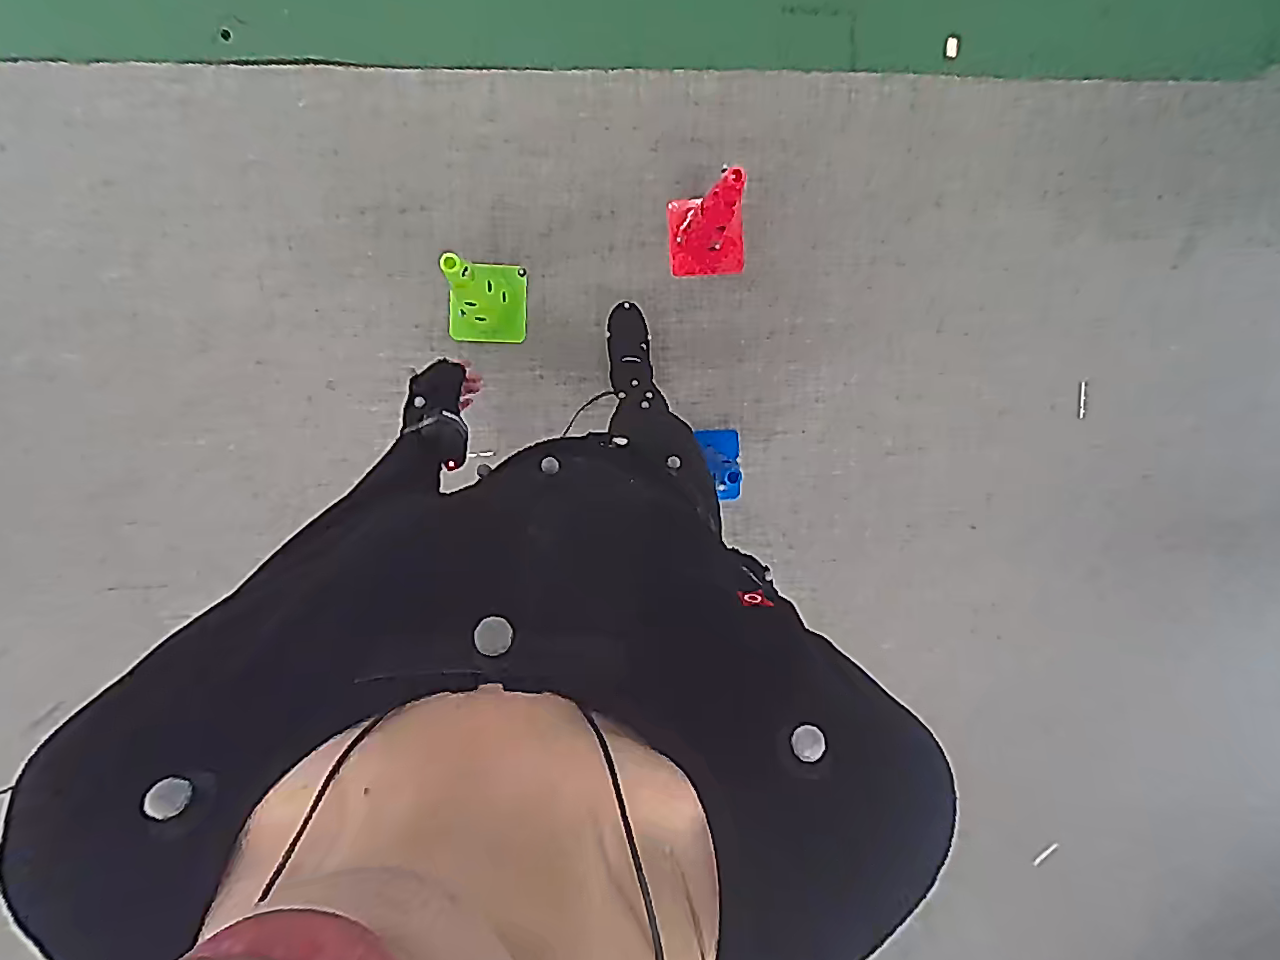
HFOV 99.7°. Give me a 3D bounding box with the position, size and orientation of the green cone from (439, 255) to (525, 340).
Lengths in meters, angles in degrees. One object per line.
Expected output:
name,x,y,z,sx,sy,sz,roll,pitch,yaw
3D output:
green cone,-0.396,-0.455,1.257,0.200,0.368,0.202,1,96,-3
